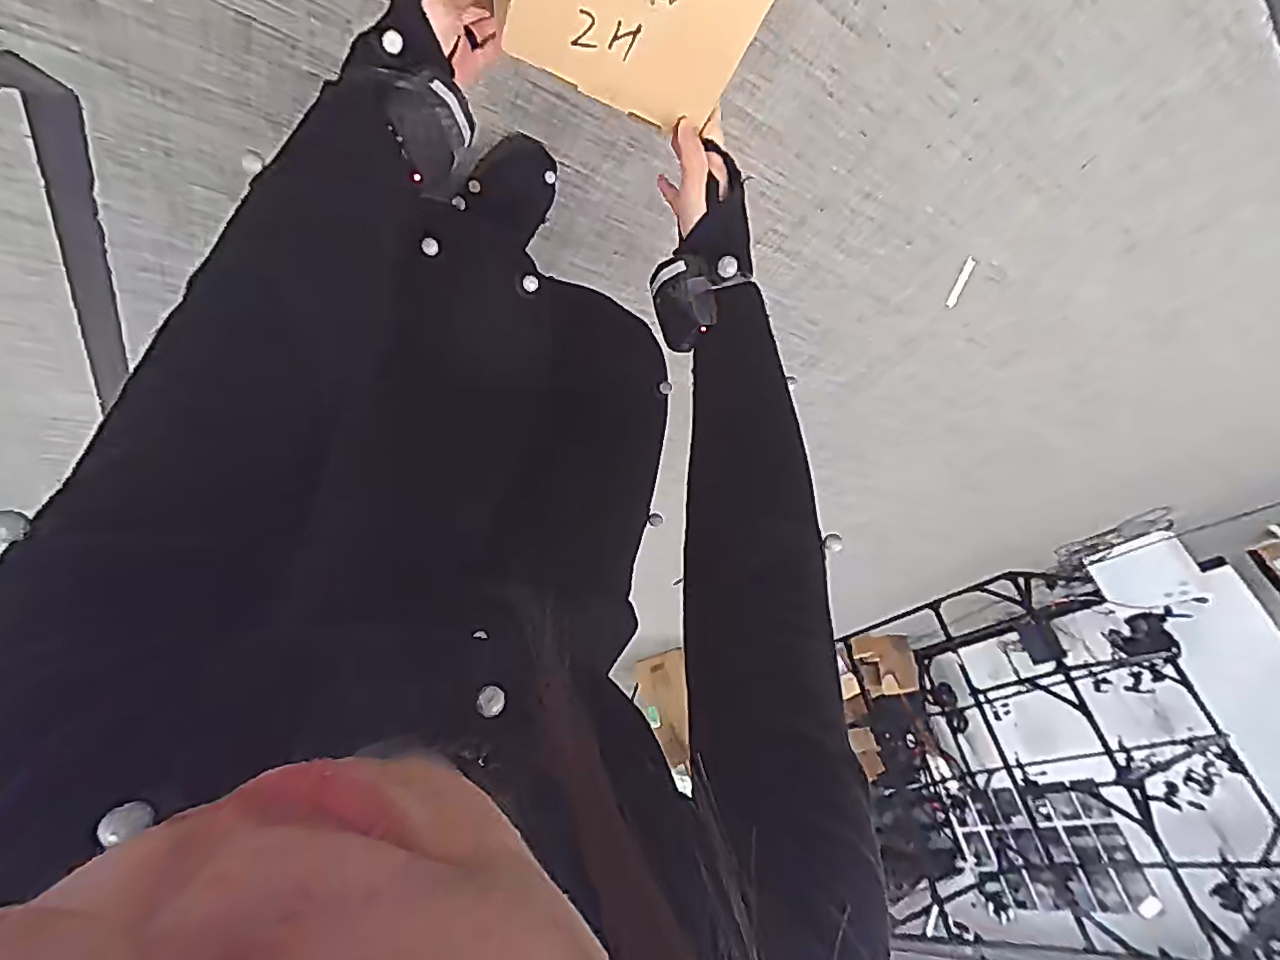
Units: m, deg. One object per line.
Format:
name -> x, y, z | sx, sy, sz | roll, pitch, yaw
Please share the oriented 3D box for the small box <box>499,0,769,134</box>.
small box -> -0.001, -0.403, 0.380 | 0.168, 0.176, 0.179 | 7, 146, -29
